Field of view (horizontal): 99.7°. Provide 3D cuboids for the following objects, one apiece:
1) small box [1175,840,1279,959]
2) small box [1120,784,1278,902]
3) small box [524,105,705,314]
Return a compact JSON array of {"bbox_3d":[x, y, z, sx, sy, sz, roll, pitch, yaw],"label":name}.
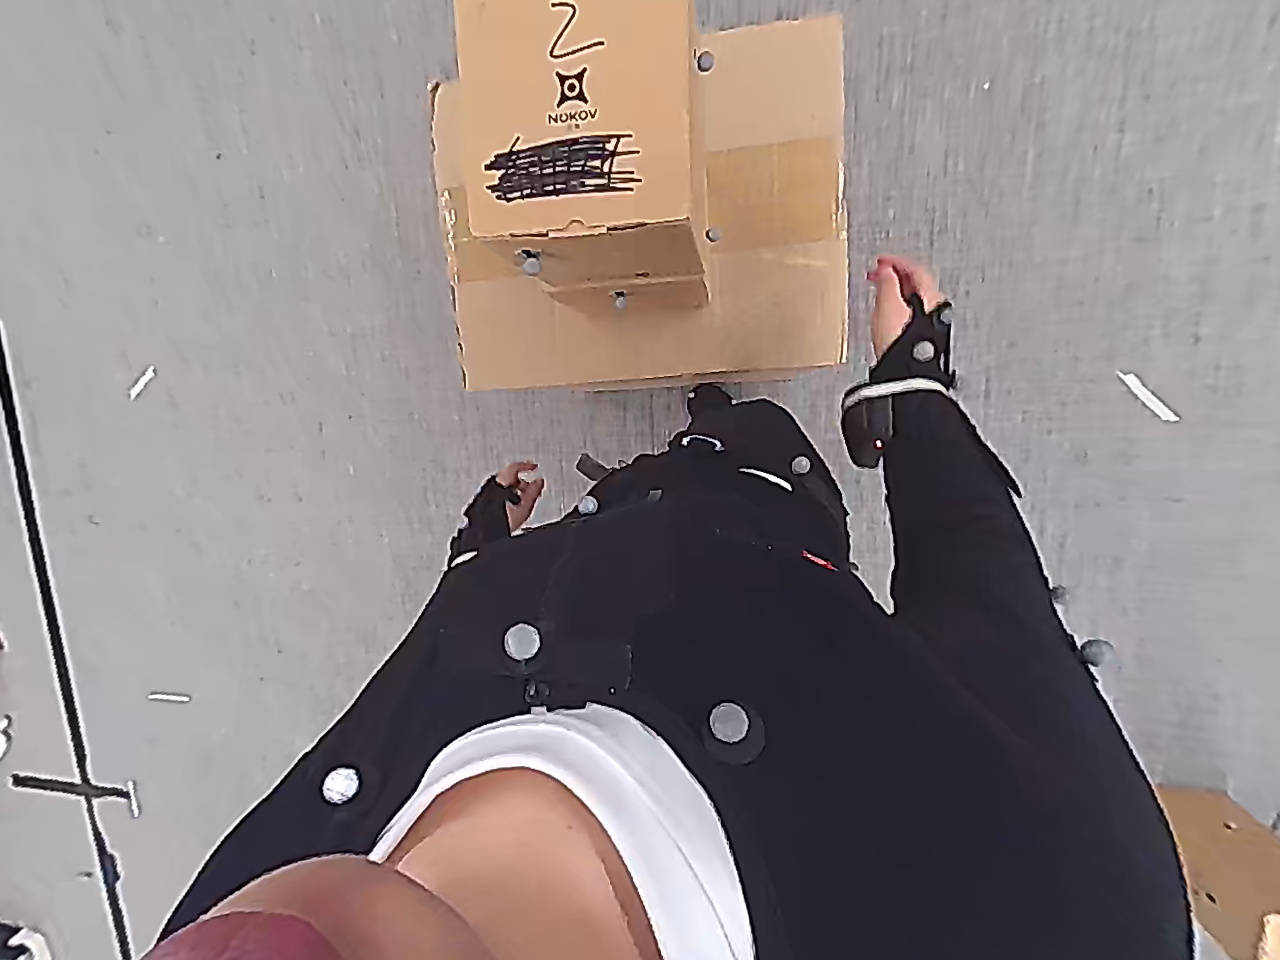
[{"bbox_3d":[1.214,0.840,1.053,0.179,0.176,0.168,-2,98,11],"label":"small box"},{"bbox_3d":[1.242,0.814,1.214,0.179,0.176,0.168,-1,98,11],"label":"small box"},{"bbox_3d":[-0.016,-0.290,0.620,0.179,0.176,0.168,-2,99,10],"label":"small box"}]
